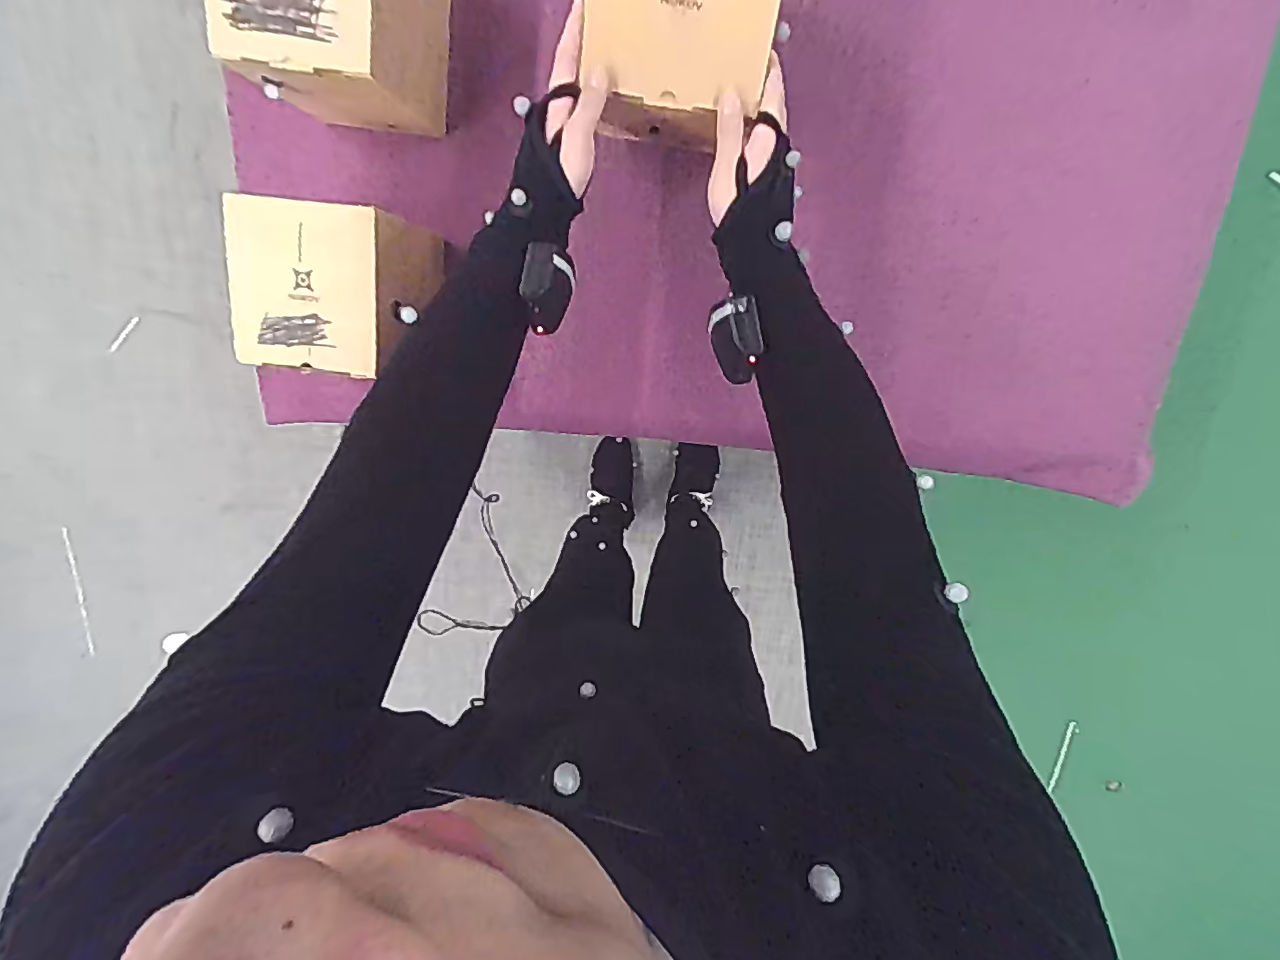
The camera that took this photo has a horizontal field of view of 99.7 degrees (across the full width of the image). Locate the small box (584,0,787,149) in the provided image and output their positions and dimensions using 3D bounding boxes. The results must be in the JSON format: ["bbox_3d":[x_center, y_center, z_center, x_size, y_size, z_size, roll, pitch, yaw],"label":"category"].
[{"bbox_3d":[0.043,-0.445,0.522,0.168,0.176,0.179,8,113,-2],"label":"small box"}]

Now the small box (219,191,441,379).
[{"bbox_3d":[-0.352,-0.224,0.648,0.168,0.176,0.179,7,105,2],"label":"small box"}]
